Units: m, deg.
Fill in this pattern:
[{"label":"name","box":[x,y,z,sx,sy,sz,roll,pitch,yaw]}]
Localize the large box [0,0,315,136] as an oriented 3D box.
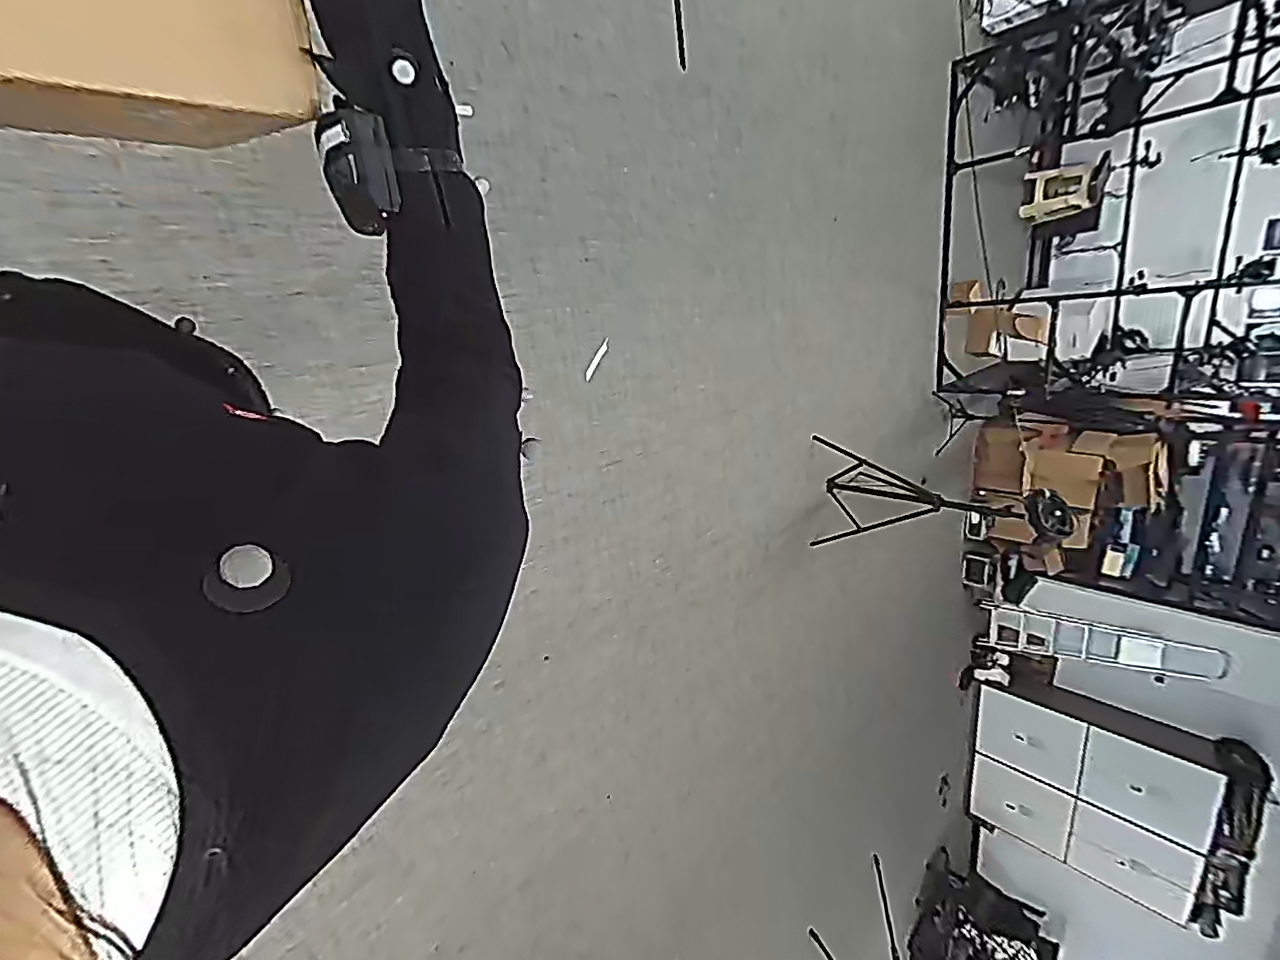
[{"label":"large box","box":[-0.454,-0.373,0.256,0.408,0.320,0.320,-22,126,-41]}]
